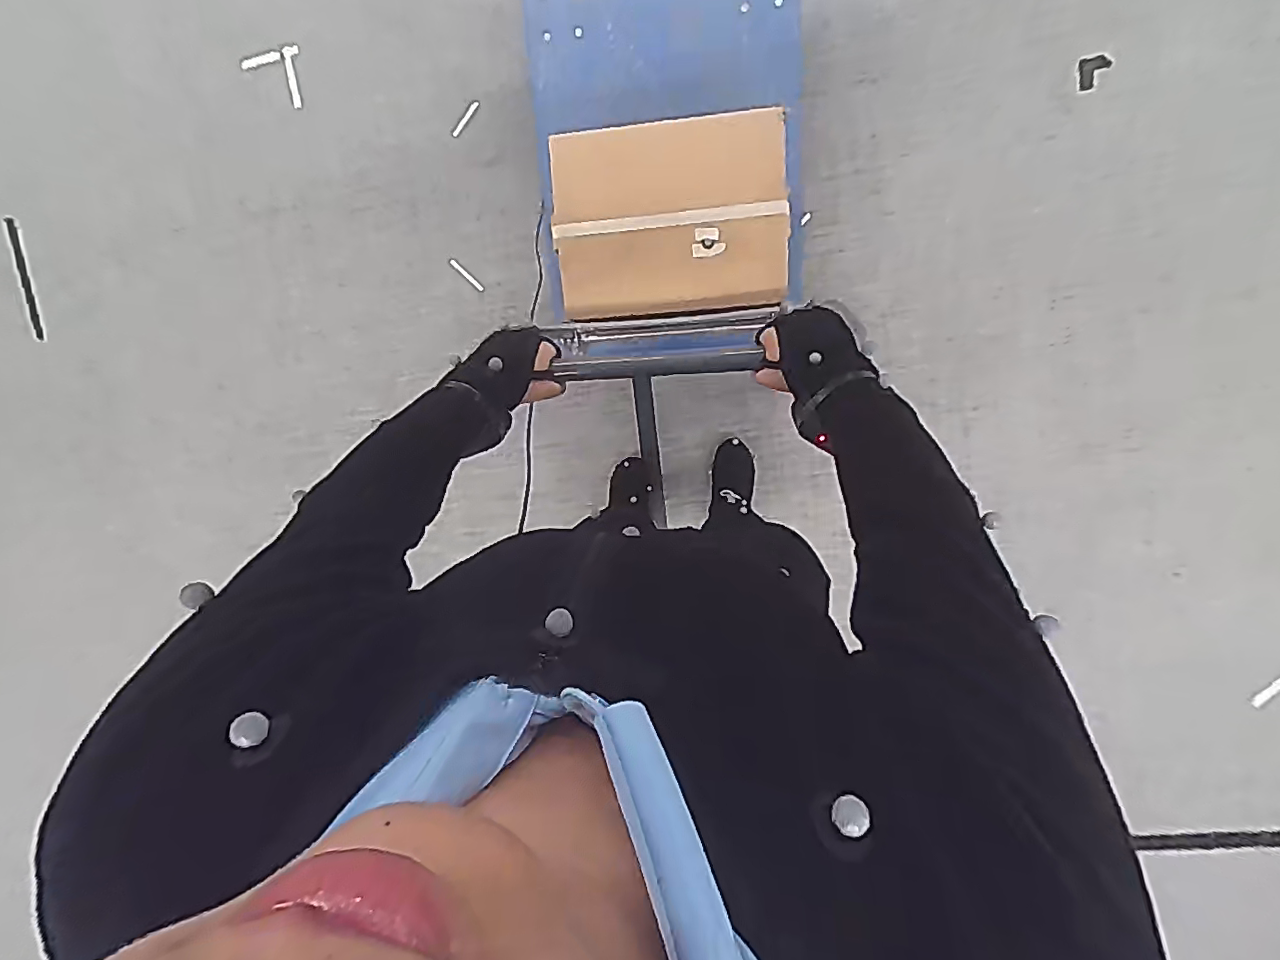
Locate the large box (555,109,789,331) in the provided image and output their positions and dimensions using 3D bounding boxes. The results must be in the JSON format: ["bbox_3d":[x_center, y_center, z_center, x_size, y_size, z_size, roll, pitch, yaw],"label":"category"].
[{"bbox_3d":[0.071,-0.492,1.105,0.408,0.320,0.320,-3,102,6],"label":"large box"}]
